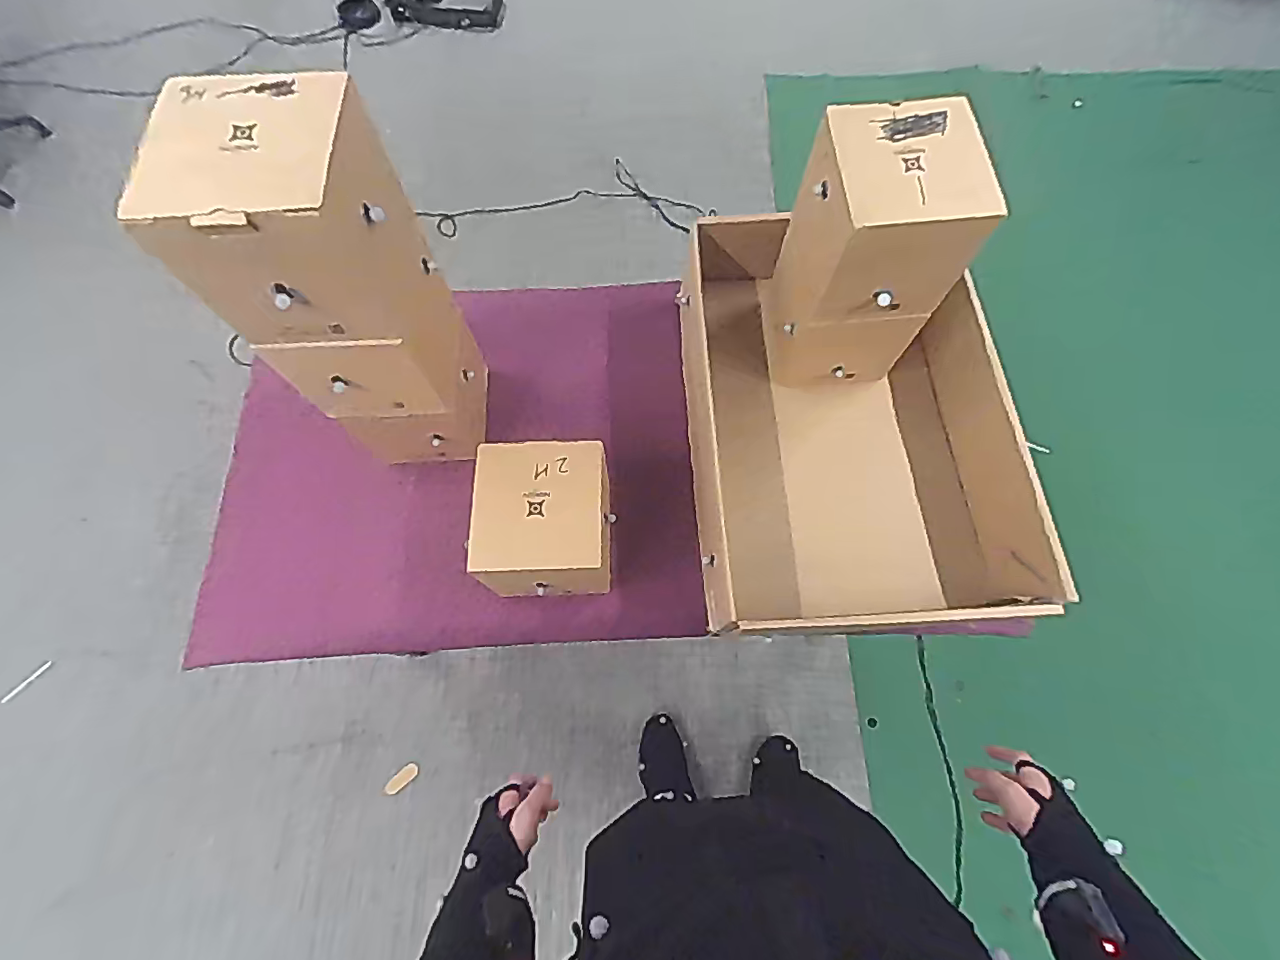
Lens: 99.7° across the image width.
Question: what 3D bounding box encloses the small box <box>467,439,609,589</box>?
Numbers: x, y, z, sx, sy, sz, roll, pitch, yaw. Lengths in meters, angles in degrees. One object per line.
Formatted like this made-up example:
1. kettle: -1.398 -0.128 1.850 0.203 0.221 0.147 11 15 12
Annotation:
1. small box: -0.131 0.057 0.762 0.168 0.176 0.179 -1 68 -1

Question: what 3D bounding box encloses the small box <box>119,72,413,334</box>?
1. small box: -0.343 -0.260 0.539 0.168 0.176 0.179 -3 70 -2

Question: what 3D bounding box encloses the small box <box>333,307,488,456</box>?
1. small box: -0.342 -0.143 0.843 0.168 0.176 0.179 -2 69 -1

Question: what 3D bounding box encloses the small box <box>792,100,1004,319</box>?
1. small box: 0.298 -0.326 0.671 0.168 0.176 0.179 -5 71 0

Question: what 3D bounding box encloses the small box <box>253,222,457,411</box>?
1. small box: -0.343 -0.197 0.691 0.168 0.176 0.179 -3 69 -1
